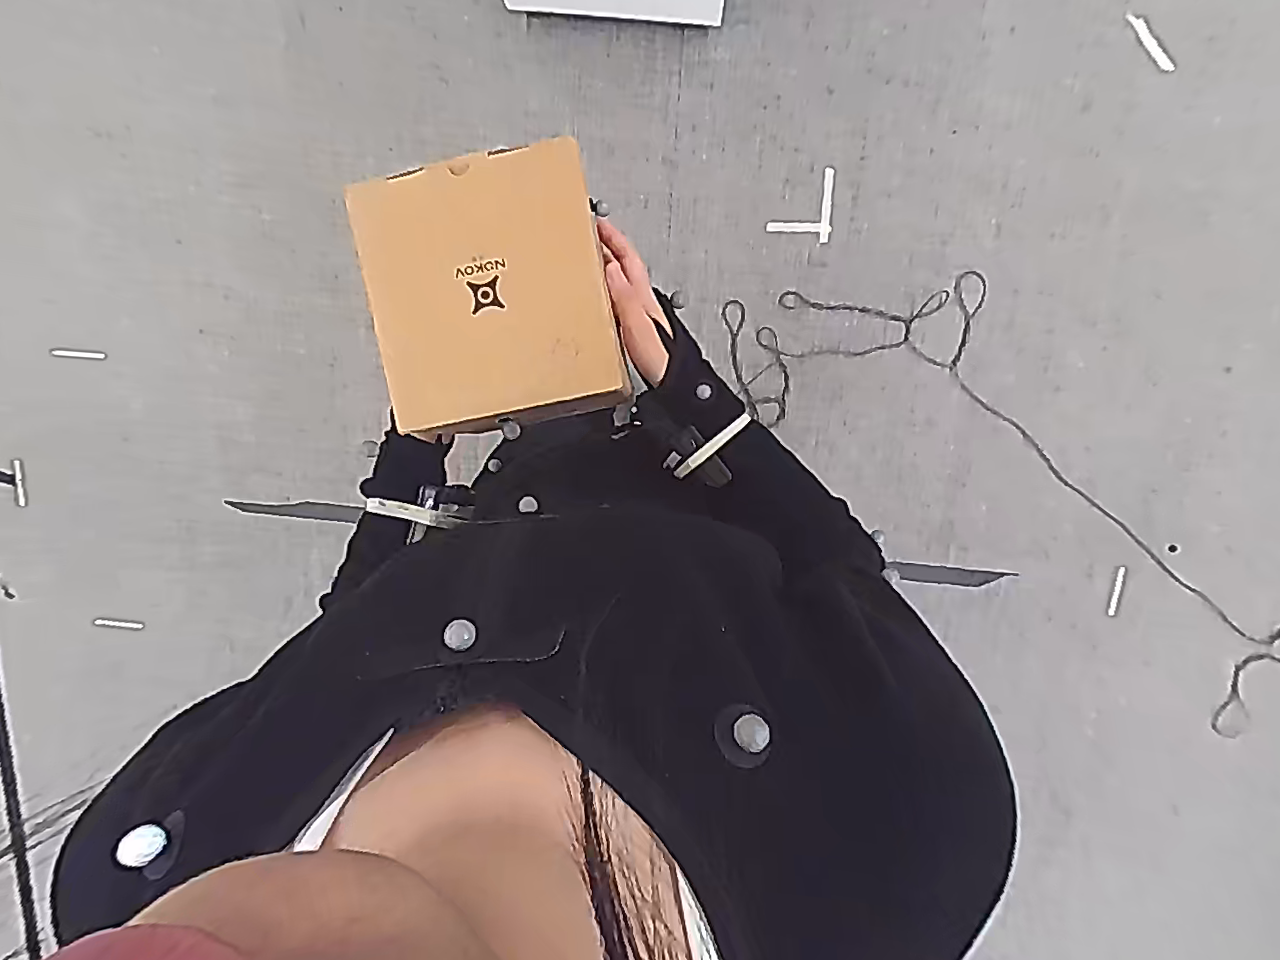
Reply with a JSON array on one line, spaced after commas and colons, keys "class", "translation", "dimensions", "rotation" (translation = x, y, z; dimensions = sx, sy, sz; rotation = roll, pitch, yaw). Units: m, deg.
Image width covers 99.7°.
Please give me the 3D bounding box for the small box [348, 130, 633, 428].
[{"class": "small box", "translation": [-0.103, -0.144, 0.455], "dimensions": [0.168, 0.176, 0.179], "rotation": [-11, 93, 3]}]
